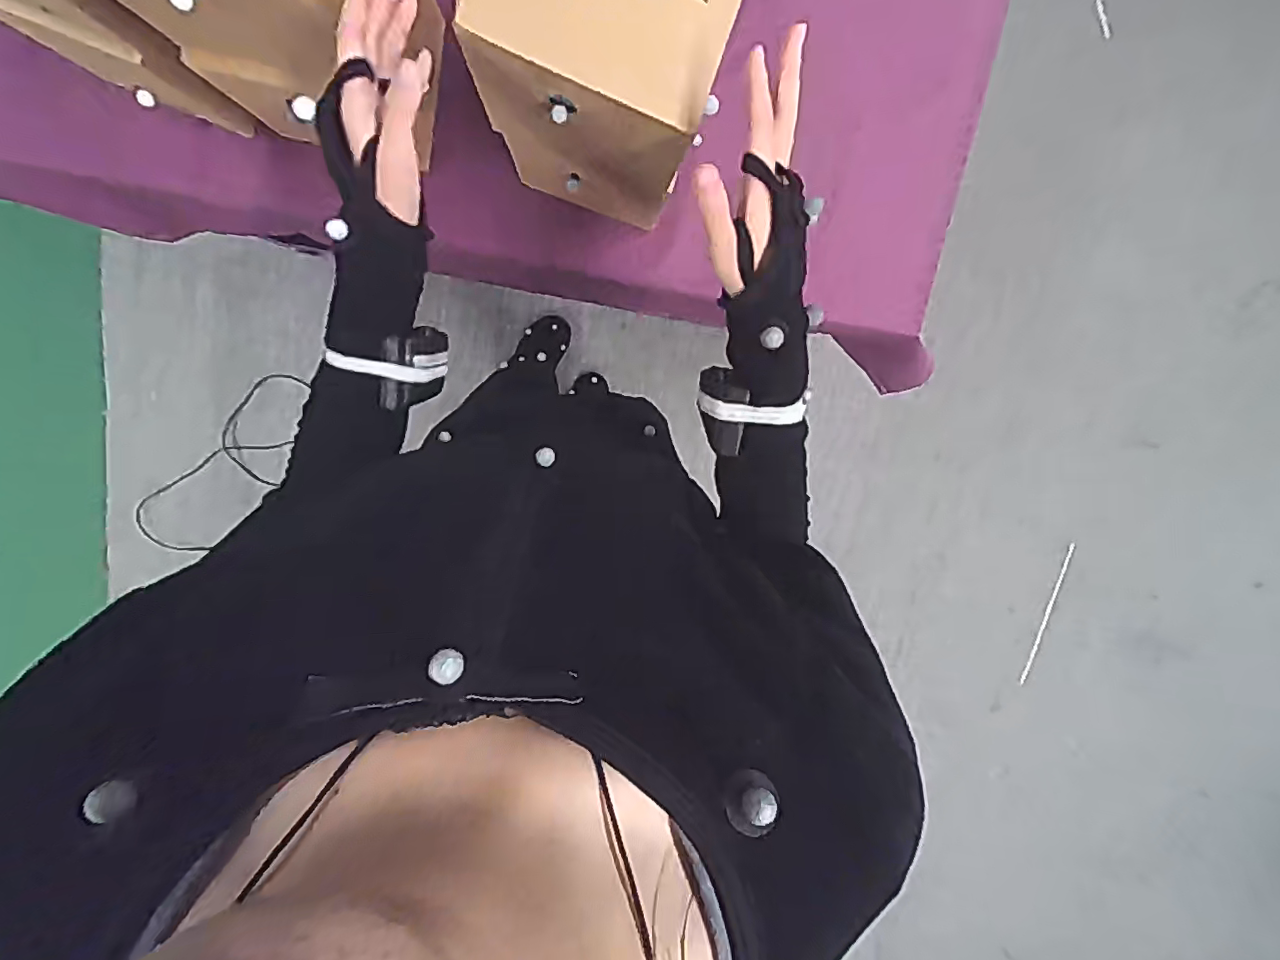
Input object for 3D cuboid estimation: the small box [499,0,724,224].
[{"bbox_3d":[-0.034,-0.403,0.586,0.179,0.176,0.168,17,100,-9],"label":"small box"}]
